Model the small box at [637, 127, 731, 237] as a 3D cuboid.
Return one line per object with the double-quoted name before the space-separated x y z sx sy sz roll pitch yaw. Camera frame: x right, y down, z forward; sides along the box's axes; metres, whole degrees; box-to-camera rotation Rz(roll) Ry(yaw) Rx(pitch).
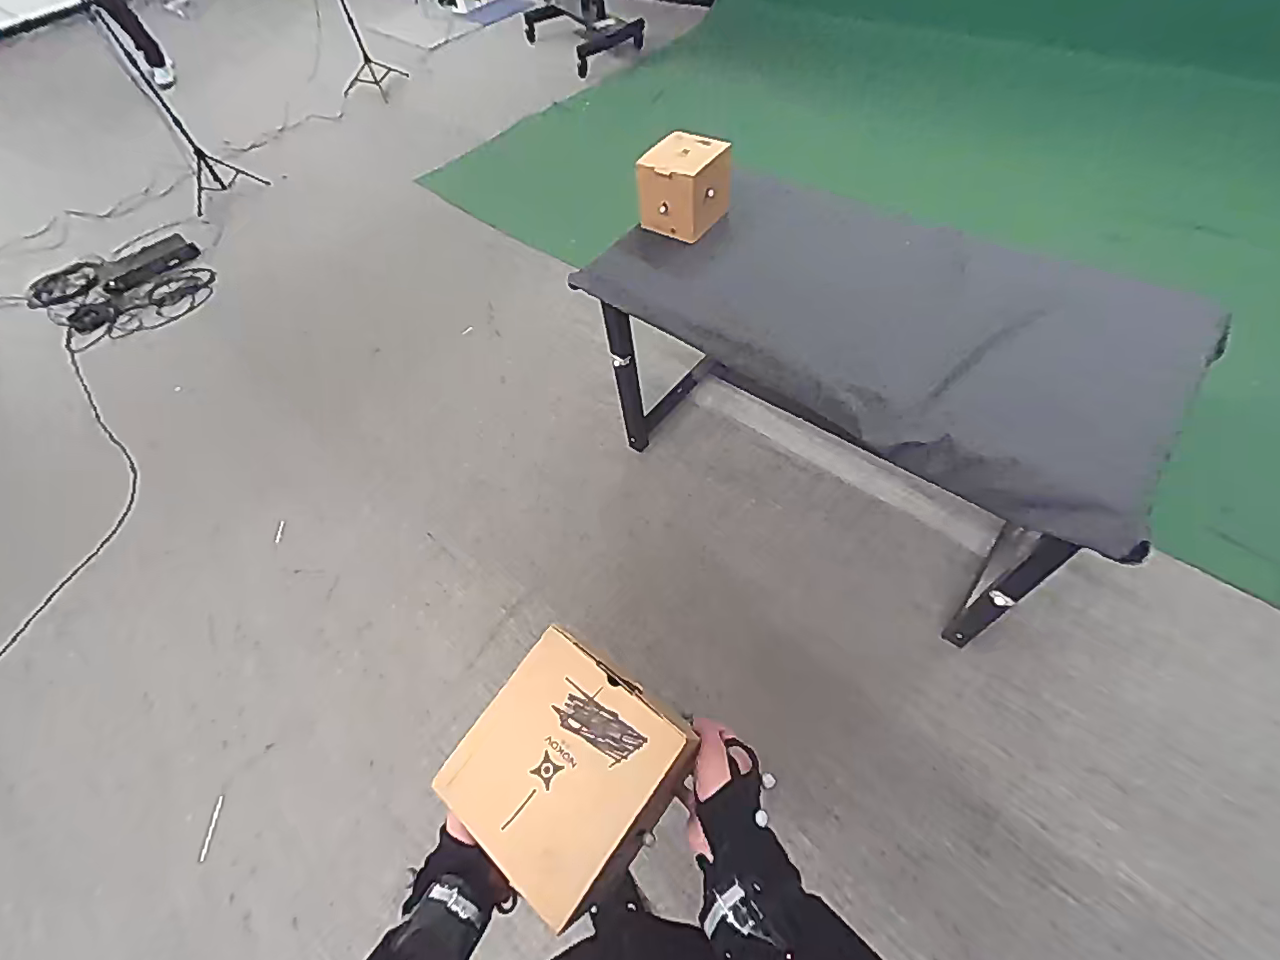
"small box" 0.116 -0.742 1.353 0.168 0.176 0.179 29 65 23
